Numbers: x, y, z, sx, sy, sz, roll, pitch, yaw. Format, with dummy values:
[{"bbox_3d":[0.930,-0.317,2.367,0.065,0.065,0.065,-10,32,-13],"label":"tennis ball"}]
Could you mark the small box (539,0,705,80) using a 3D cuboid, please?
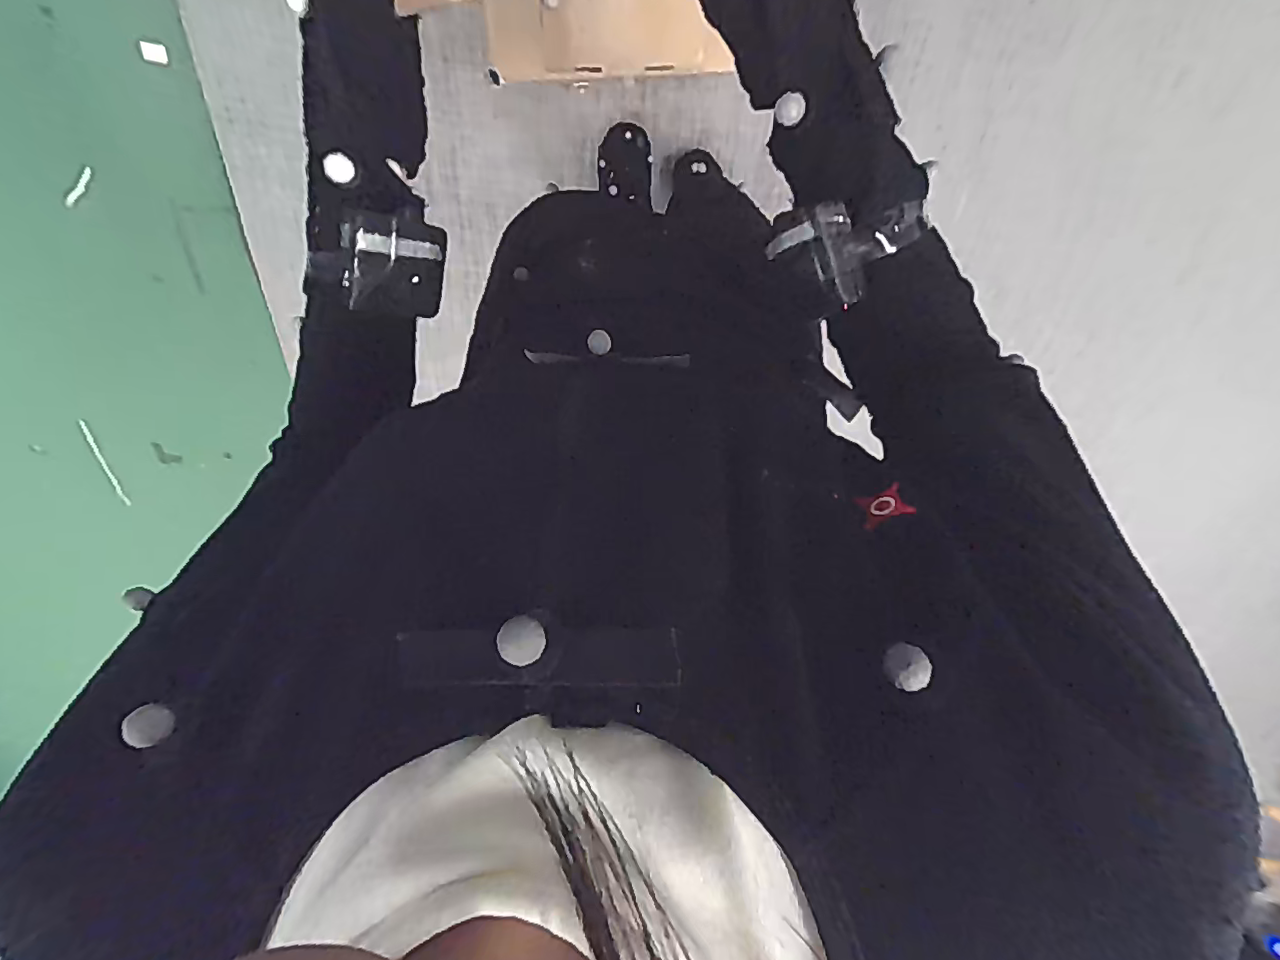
[{"bbox_3d":[-0.013,-0.536,0.571,0.168,0.176,0.179,1,128,2],"label":"small box"}]
